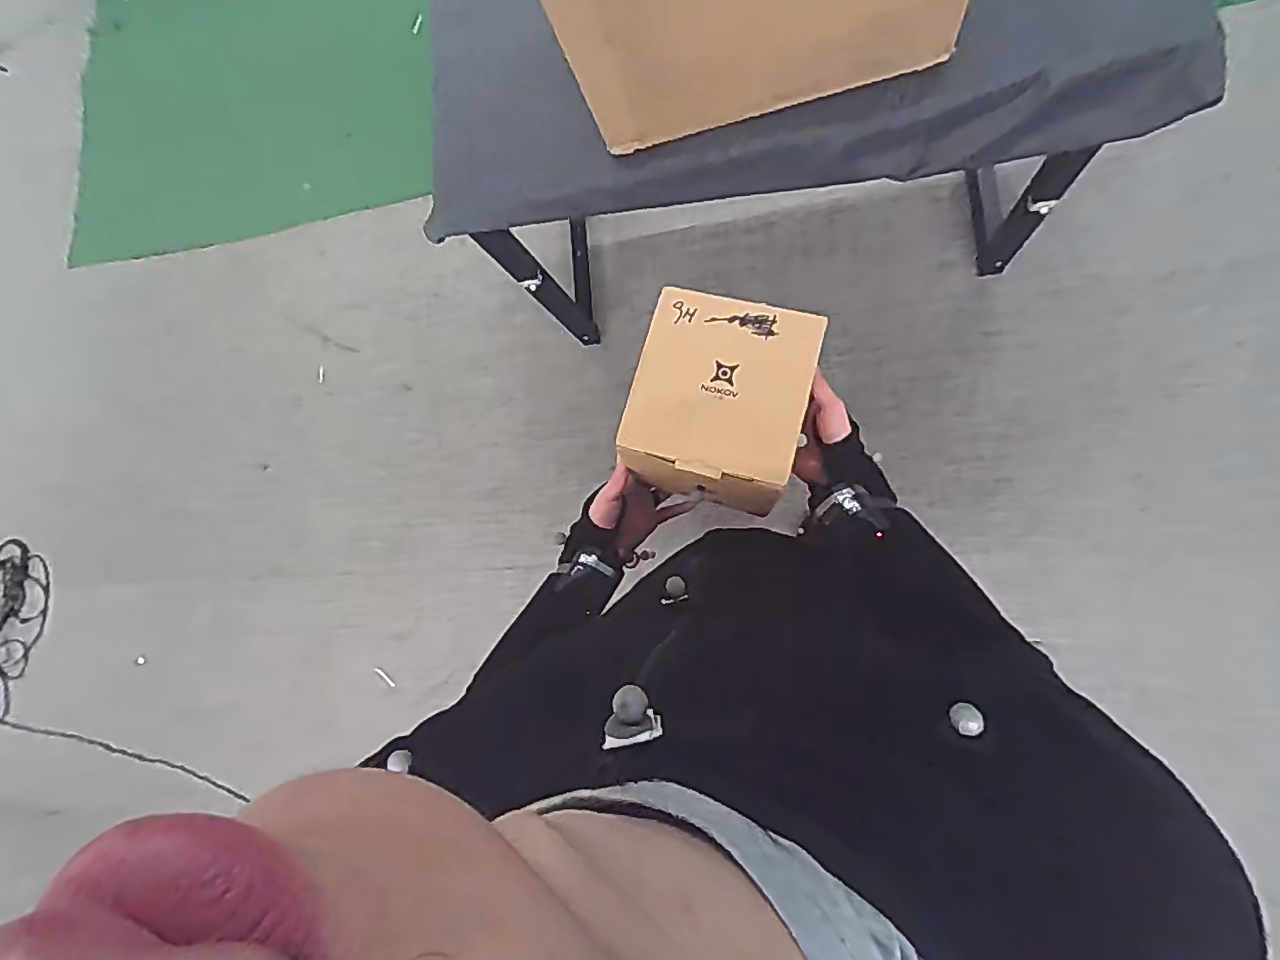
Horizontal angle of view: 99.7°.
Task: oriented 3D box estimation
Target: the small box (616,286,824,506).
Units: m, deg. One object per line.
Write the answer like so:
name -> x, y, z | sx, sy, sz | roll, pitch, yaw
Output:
small box -> 0.086, -0.079, 0.595 | 0.168, 0.176, 0.179 | 15, 81, 9
